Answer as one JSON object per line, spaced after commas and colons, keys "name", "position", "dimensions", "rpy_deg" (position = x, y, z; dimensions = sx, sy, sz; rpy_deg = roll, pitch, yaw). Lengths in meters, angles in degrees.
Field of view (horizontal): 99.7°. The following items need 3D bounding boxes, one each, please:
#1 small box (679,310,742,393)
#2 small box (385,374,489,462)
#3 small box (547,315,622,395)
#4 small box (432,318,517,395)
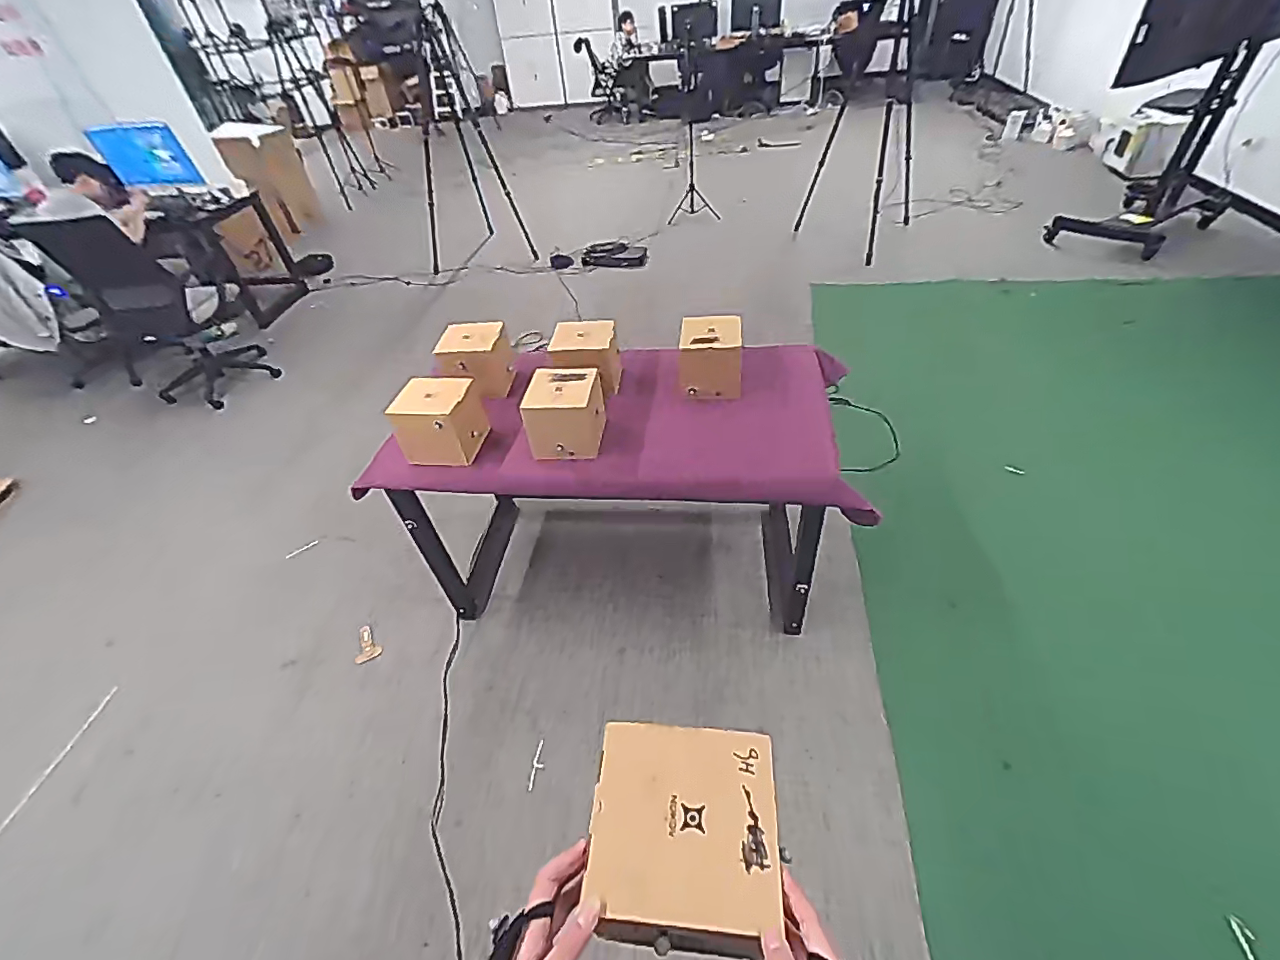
{"name": "small box", "position": [0.202, -0.355, 1.516], "dimensions": [0.168, 0.176, 0.179], "rpy_deg": [1, 44, 9]}
{"name": "small box", "position": [-0.521, -0.162, 1.415], "dimensions": [0.179, 0.176, 0.168], "rpy_deg": [2, 43, 8]}
{"name": "small box", "position": [-0.152, -0.360, 1.572], "dimensions": [0.179, 0.176, 0.168], "rpy_deg": [-1, 44, 8]}
{"name": "small box", "position": [-0.487, -0.365, 1.619], "dimensions": [0.179, 0.176, 0.168], "rpy_deg": [-1, 45, 6]}
